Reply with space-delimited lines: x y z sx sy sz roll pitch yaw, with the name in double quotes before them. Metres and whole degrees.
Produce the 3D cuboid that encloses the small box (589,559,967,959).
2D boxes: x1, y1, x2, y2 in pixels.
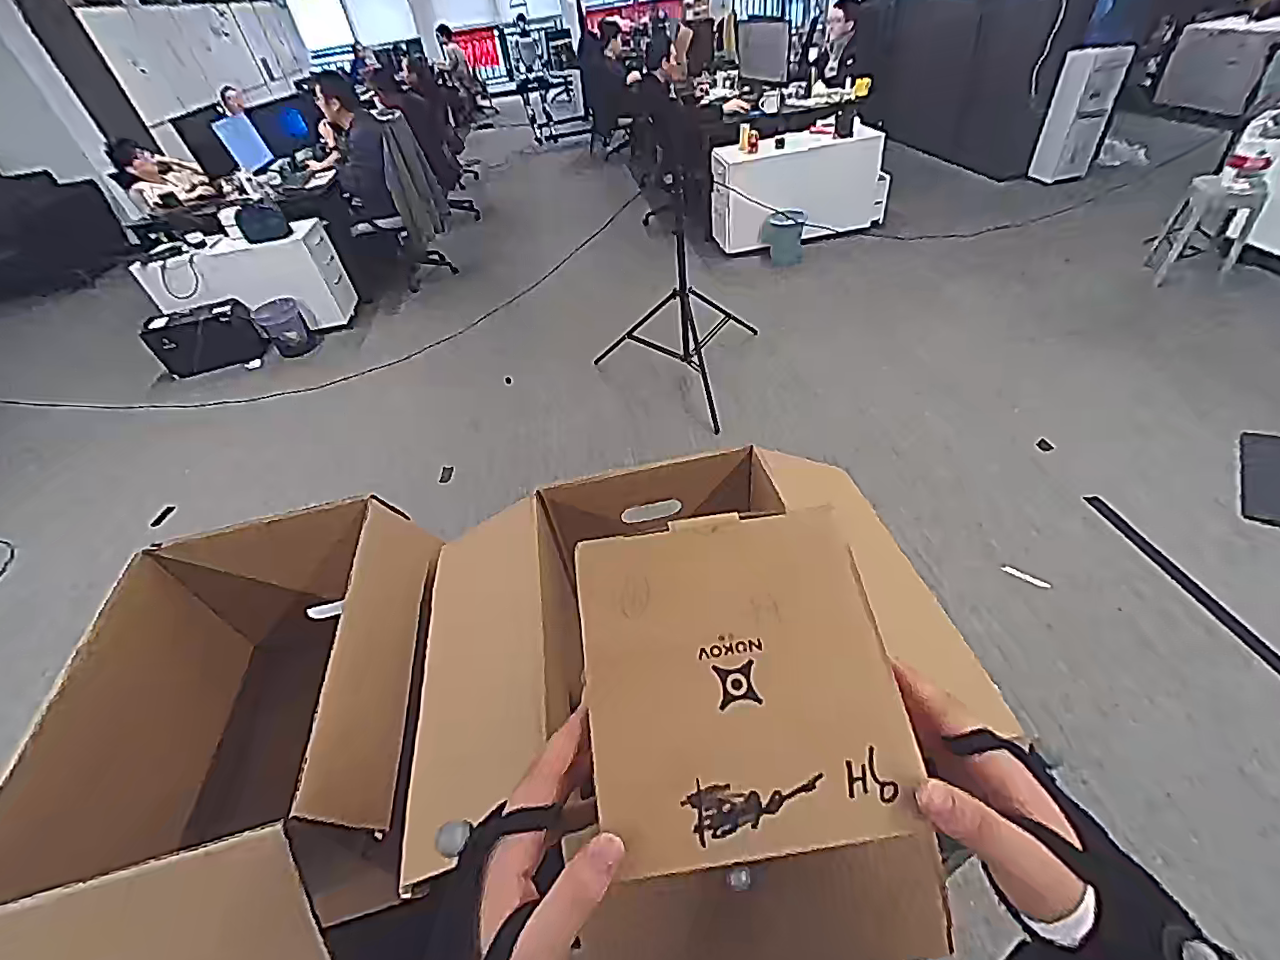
"small box" 0.062 0.170 0.354 0.168 0.176 0.179 -8 62 -1
